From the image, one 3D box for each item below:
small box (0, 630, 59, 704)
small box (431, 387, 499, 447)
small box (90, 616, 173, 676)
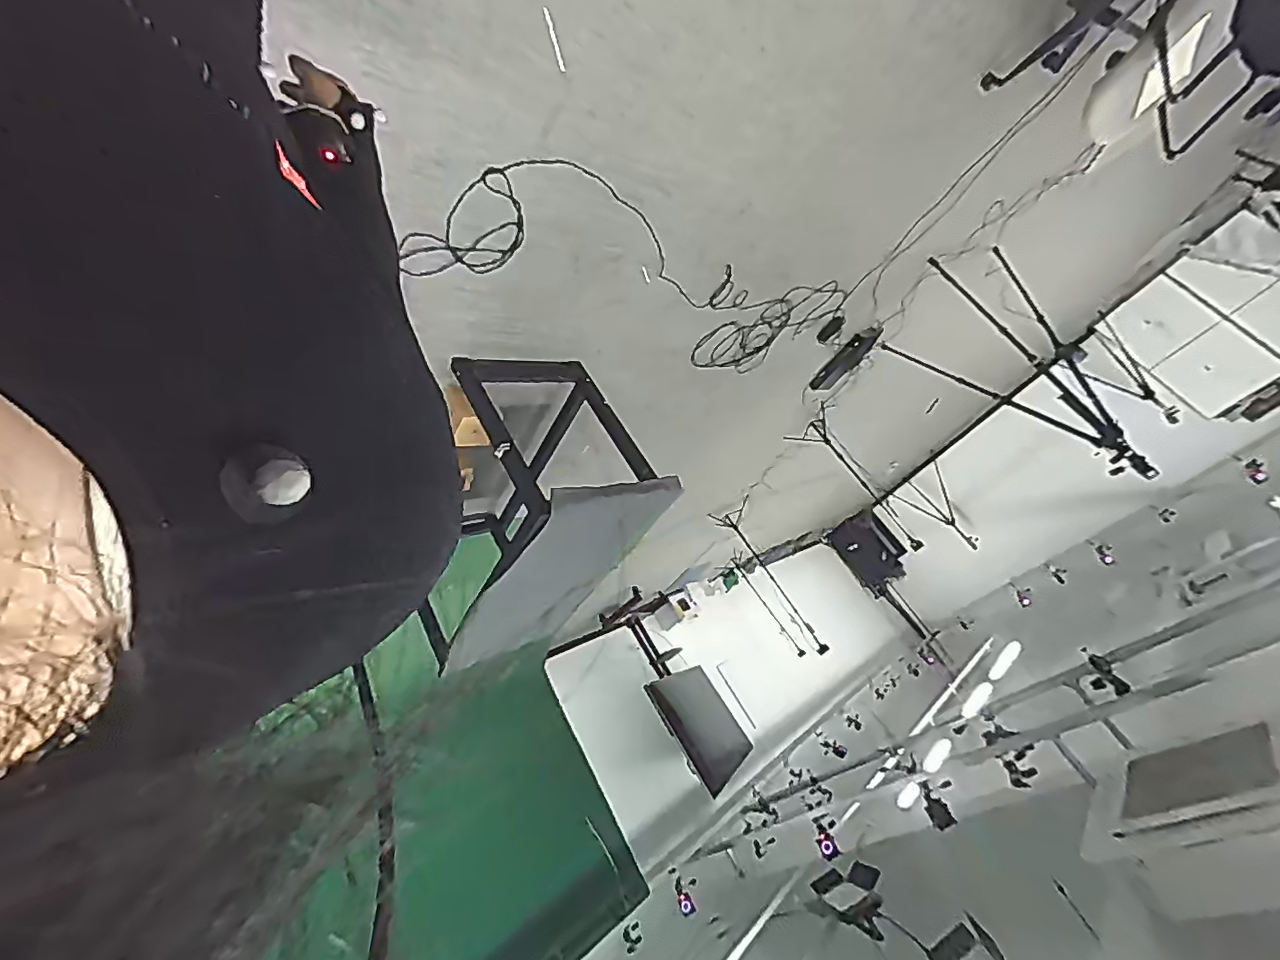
[{"bbox_3d":[-2.199,0.652,1.889,0.179,0.176,0.168,-19,153,-30],"label":"small box"},{"bbox_3d":[-0.688,-0.246,2.107,0.179,0.176,0.168,-7,145,-48],"label":"small box"},{"bbox_3d":[-2.012,0.651,2.134,0.168,0.176,0.179,-35,158,6],"label":"small box"}]
